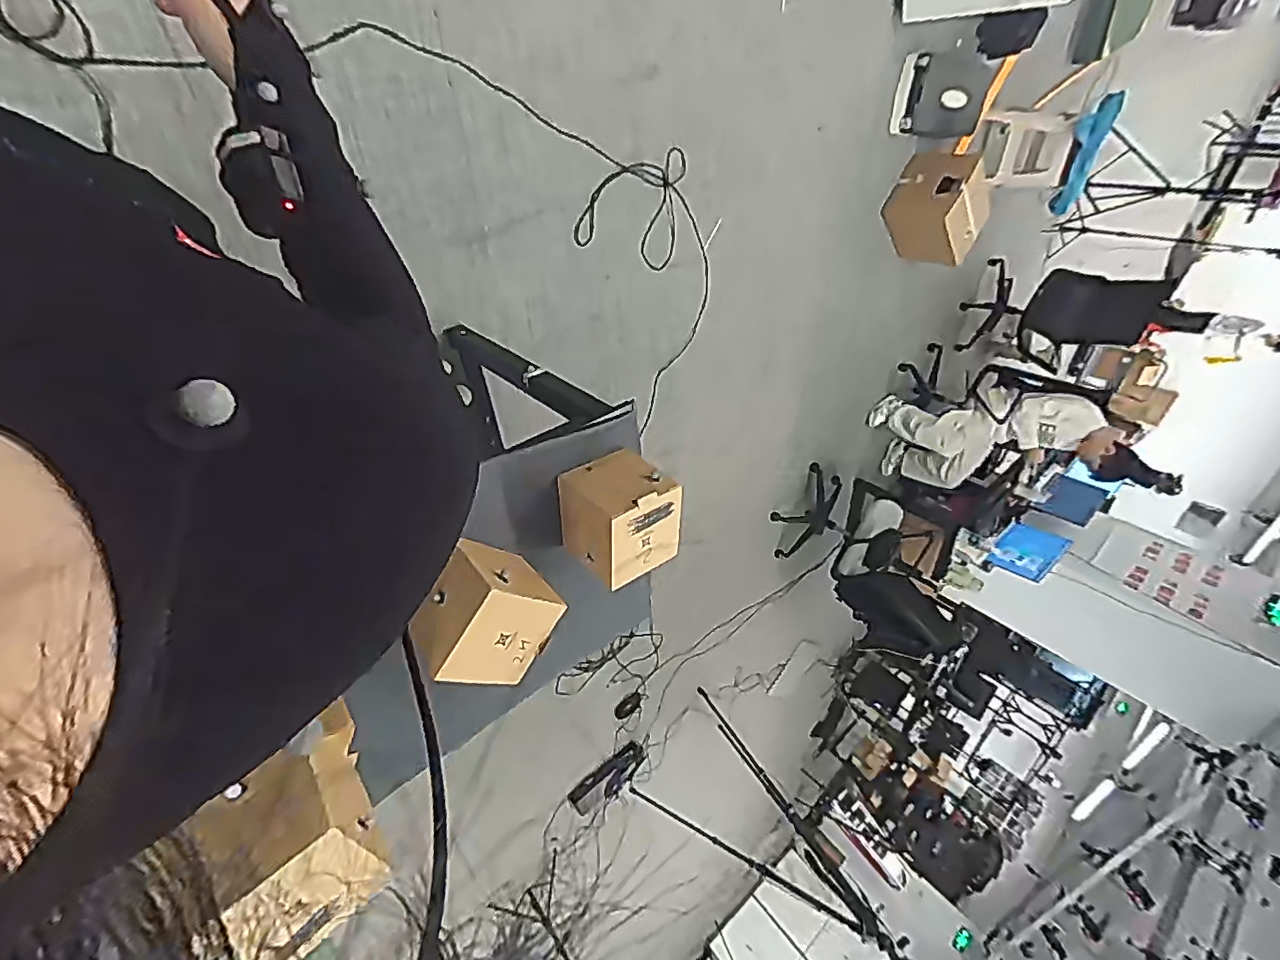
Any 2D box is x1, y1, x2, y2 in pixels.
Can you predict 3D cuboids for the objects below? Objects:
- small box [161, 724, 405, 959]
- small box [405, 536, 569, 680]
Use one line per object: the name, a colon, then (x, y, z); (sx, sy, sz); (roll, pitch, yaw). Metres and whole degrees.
small box: (-0.417, 0.431, 0.642); (0.168, 0.176, 0.179); (-34, 136, -27)
small box: (-0.262, 0.213, 0.915); (0.179, 0.176, 0.168); (30, 93, -51)
